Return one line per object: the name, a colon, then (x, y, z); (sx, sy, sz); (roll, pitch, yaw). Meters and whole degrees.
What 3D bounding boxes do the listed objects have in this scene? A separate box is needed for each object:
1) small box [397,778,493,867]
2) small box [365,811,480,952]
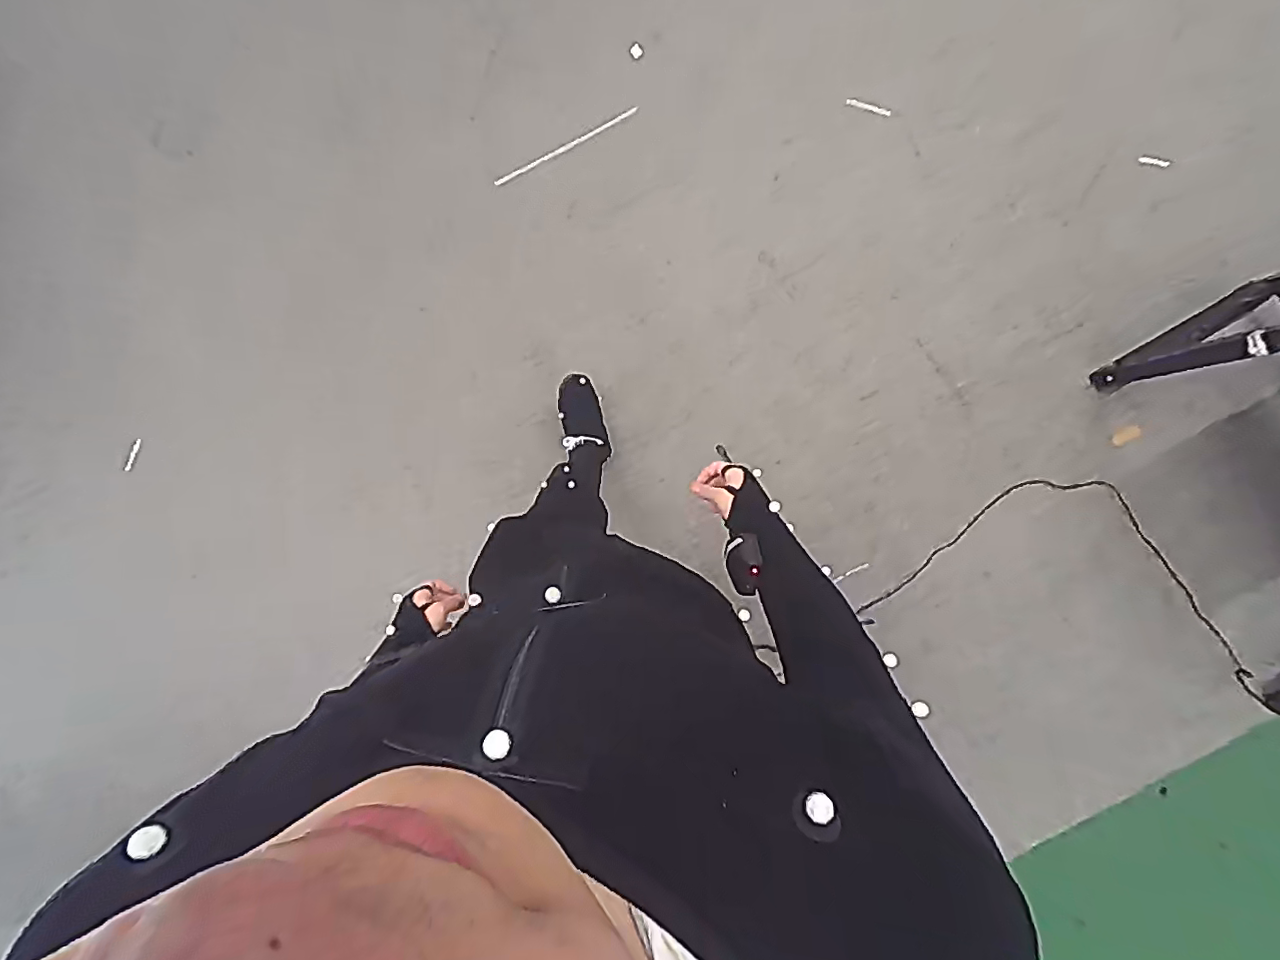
small box: (-0.510, 0.942, 1.451); (0.179, 0.176, 0.168); (-24, 90, -1)
small box: (-0.505, 0.941, 1.285); (0.168, 0.176, 0.179); (-29, 90, -2)
